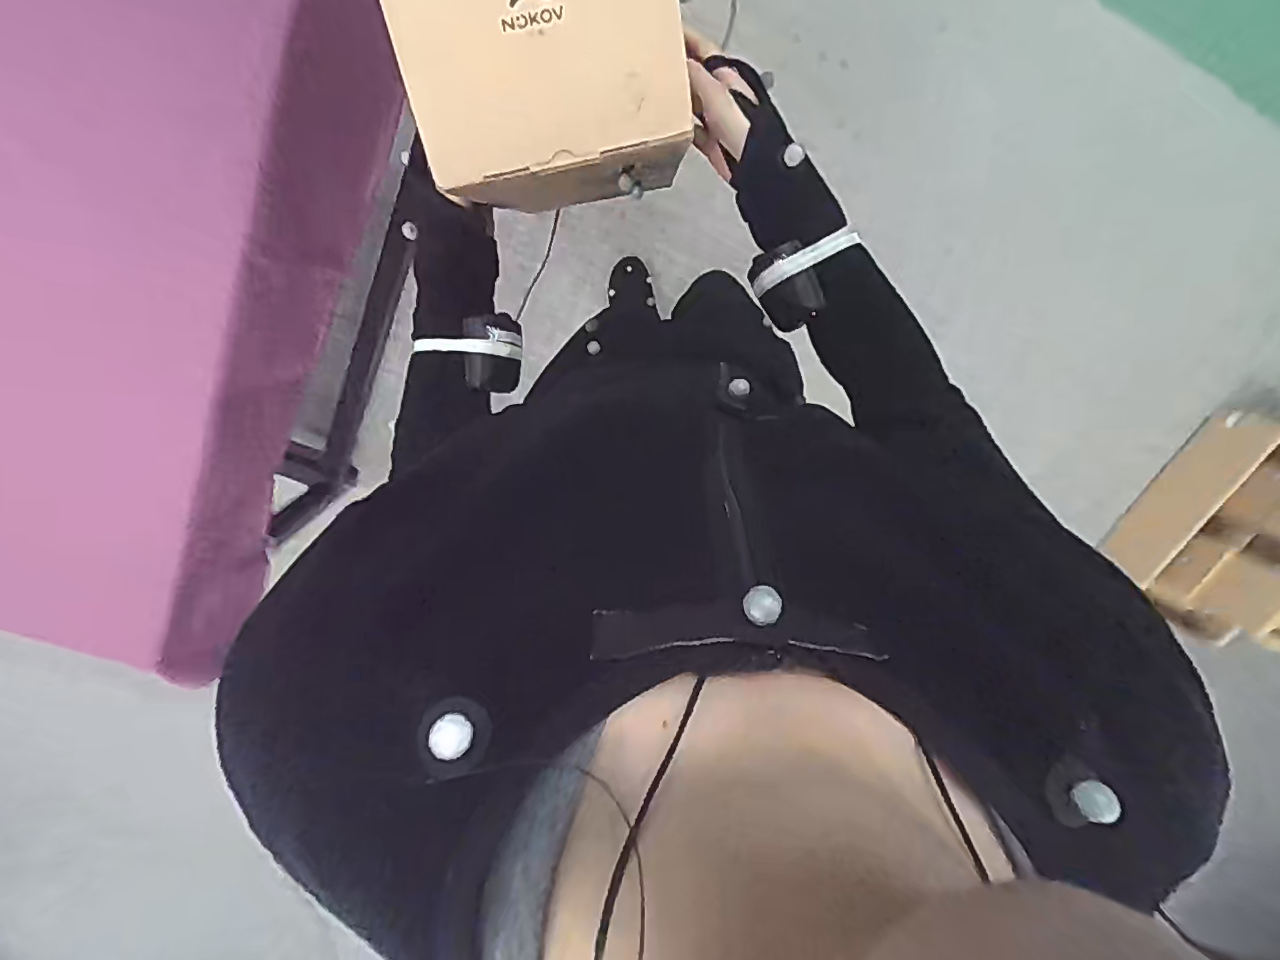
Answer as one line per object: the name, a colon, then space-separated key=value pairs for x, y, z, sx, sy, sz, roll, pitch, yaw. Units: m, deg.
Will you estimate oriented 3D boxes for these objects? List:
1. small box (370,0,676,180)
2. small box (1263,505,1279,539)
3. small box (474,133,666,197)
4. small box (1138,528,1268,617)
small box: x=-0.071 y=-0.317 z=0.367 sx=0.168 sy=0.176 sz=0.179 roll=-10 pitch=113 yaw=3
small box: x=1.779 y=0.120 z=1.369 sx=0.179 sy=0.176 sz=0.168 roll=27 pitch=107 yaw=-12
small box: x=-0.074 y=-0.380 z=0.517 sx=0.179 sy=0.176 sz=0.168 roll=-10 pitch=113 yaw=4
small box: x=1.644 y=0.264 z=1.593 sx=0.168 sy=0.176 sz=0.179 roll=23 pitch=105 yaw=-10
